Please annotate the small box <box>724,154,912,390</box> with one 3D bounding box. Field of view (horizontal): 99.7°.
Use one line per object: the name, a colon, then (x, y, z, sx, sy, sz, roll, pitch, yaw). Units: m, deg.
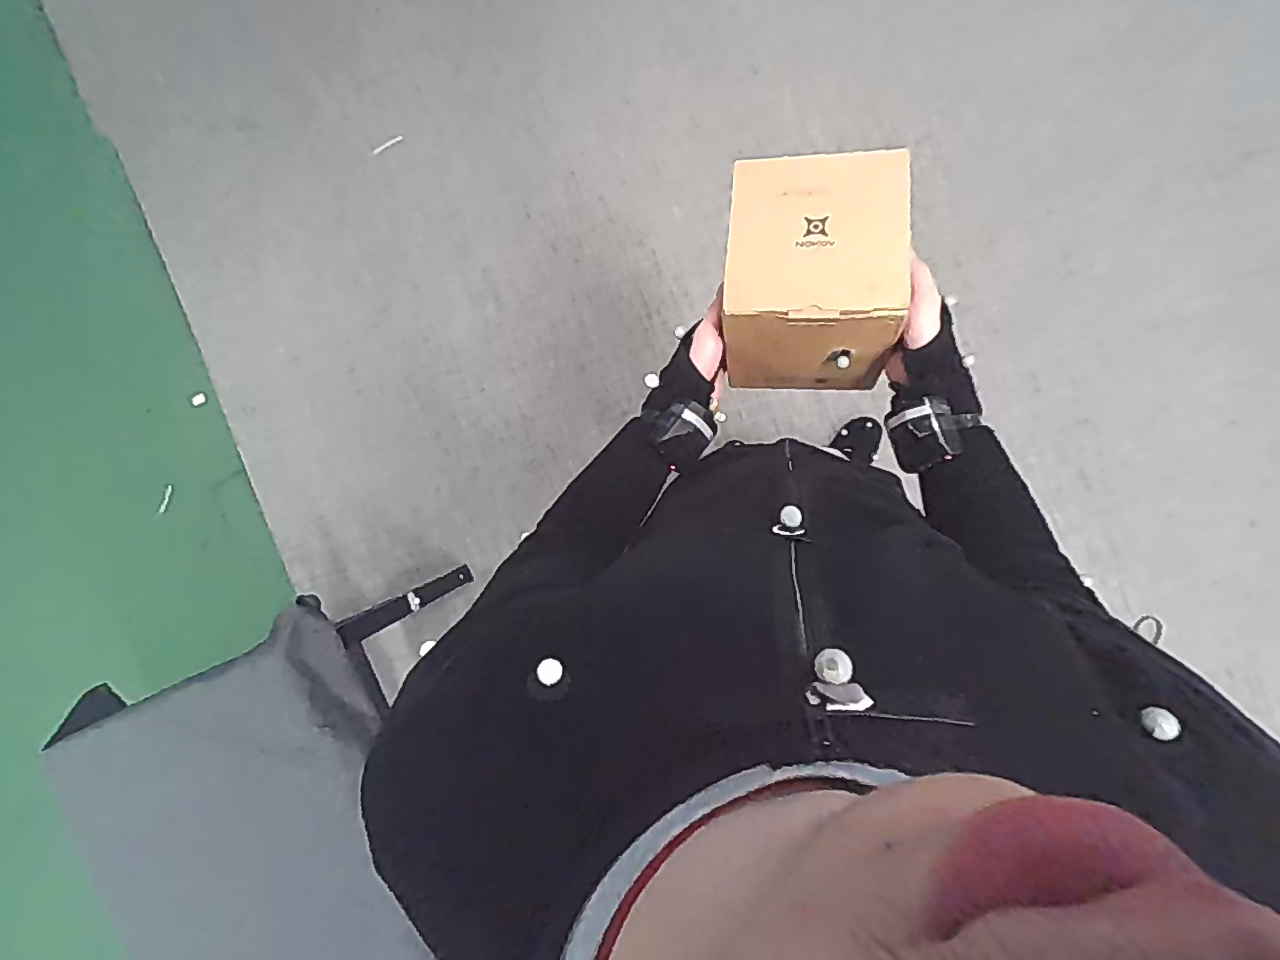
small box: (0.182, -0.209, 0.583, 0.168, 0.176, 0.179, 3, 74, 11)
